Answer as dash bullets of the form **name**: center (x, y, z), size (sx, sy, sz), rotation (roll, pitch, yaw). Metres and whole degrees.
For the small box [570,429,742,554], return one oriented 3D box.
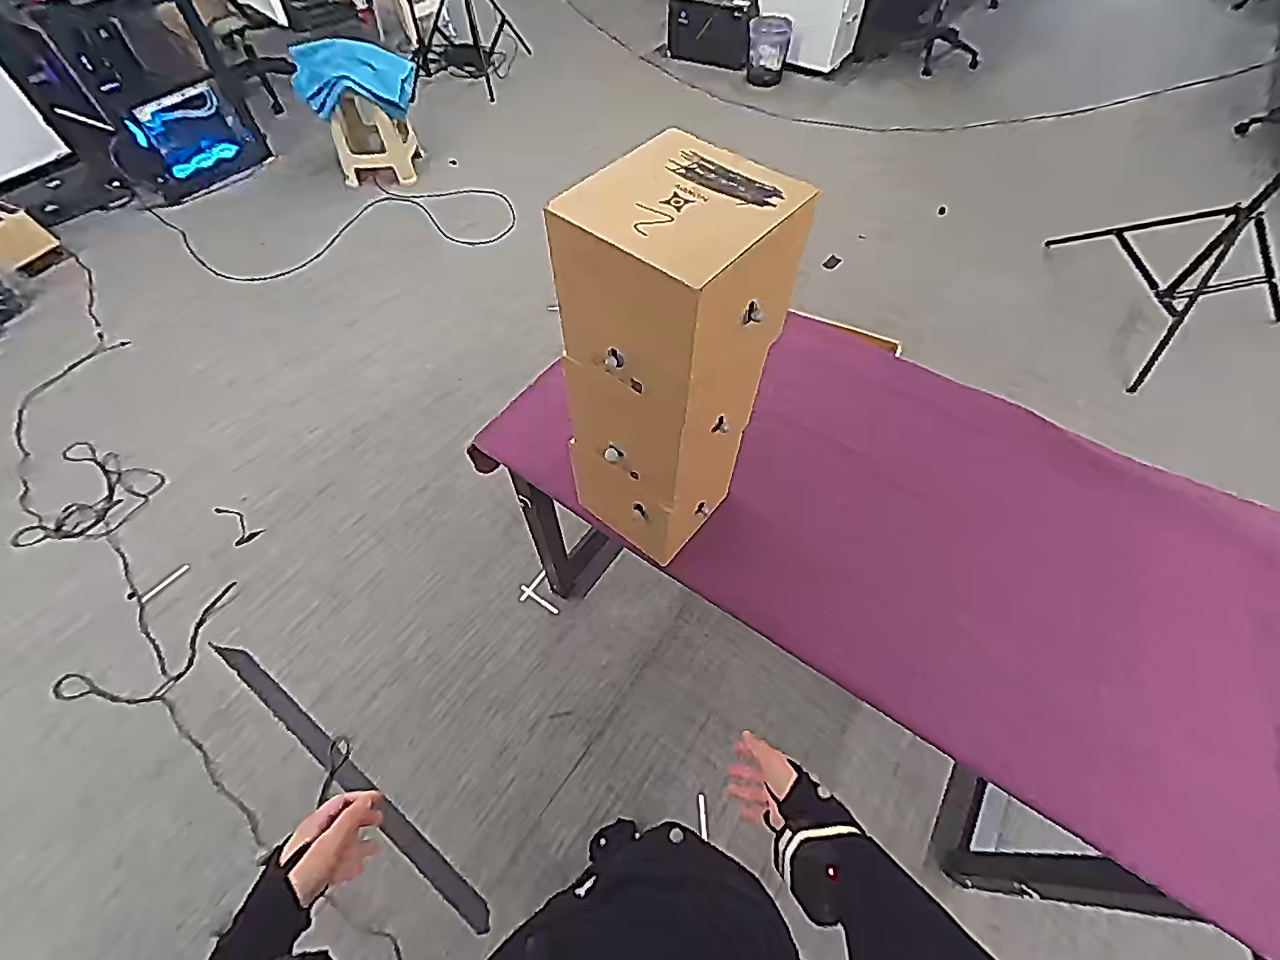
- **small box**: center (0.023, -0.015, 0.794), size (0.179, 0.176, 0.168), rotation (34, 63, 21)

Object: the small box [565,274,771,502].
- **small box**: center (0.031, -0.109, 0.660), size (0.168, 0.176, 0.179), rotation (34, 64, 20)
